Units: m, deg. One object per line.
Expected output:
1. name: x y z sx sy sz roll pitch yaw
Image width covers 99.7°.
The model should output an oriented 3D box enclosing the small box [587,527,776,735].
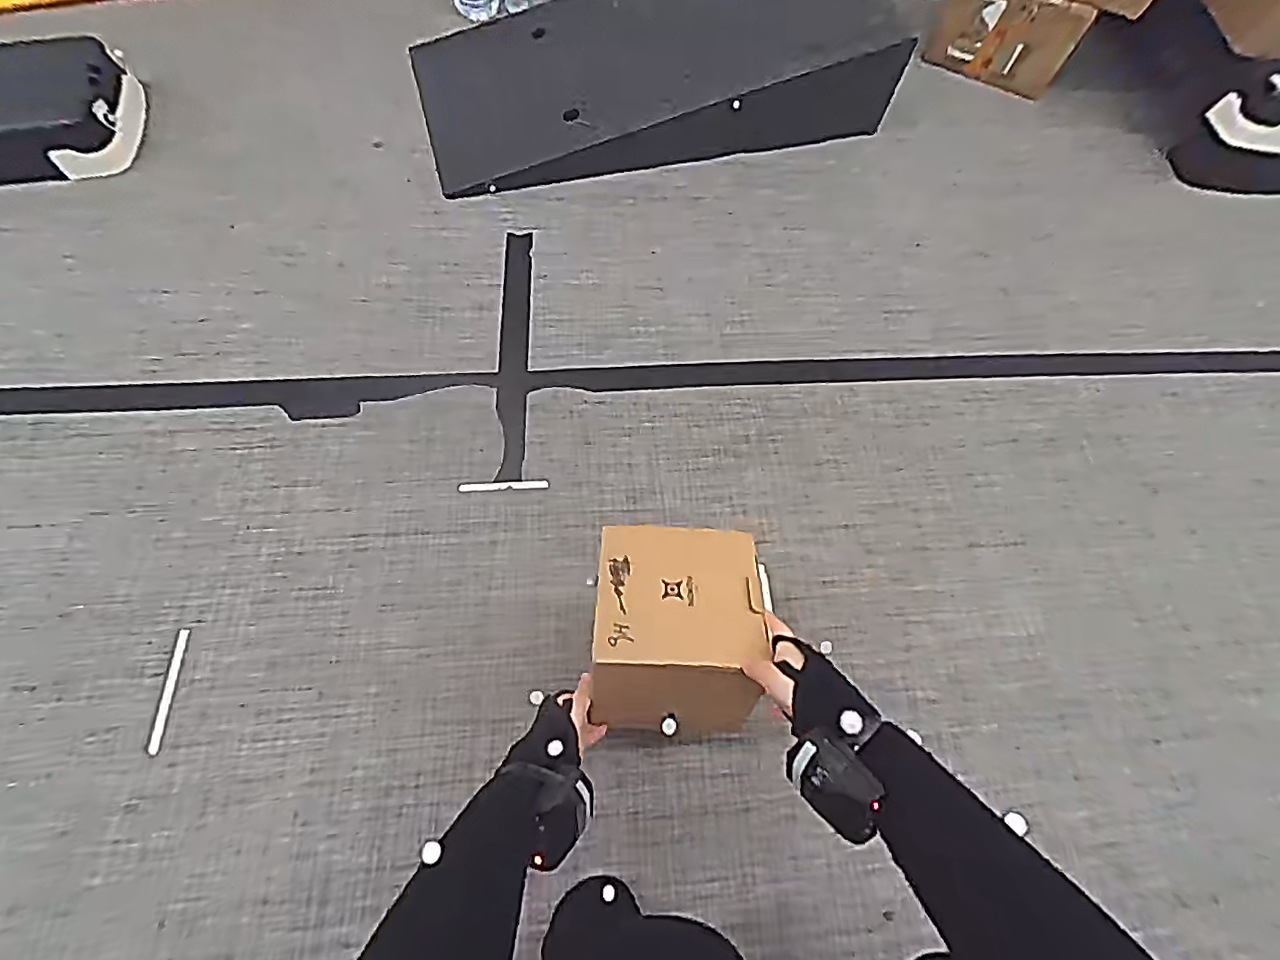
1. small box: 0.037 0.175 0.613 0.179 0.176 0.168 5 45 -3
